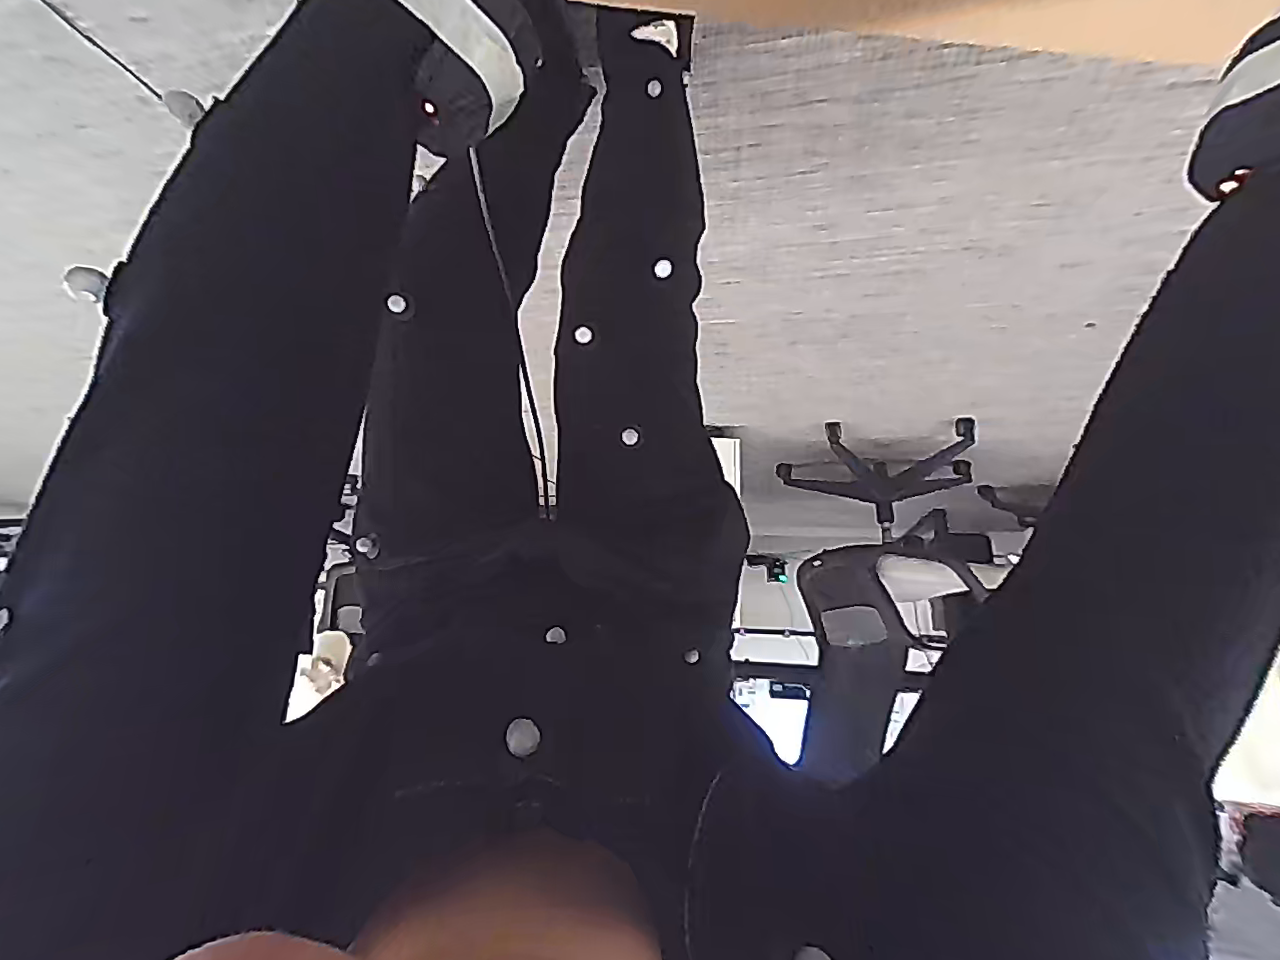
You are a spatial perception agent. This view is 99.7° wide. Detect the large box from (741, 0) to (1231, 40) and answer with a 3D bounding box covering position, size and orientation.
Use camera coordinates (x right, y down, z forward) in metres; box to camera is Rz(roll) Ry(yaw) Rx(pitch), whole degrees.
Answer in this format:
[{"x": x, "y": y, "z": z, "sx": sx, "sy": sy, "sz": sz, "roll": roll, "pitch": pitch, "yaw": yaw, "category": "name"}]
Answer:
[{"x": 0.168, "y": -0.480, "z": 0.243, "sx": 0.408, "sy": 0.320, "sz": 0.320, "roll": 4, "pitch": 158, "yaw": -2, "category": "large box"}]
